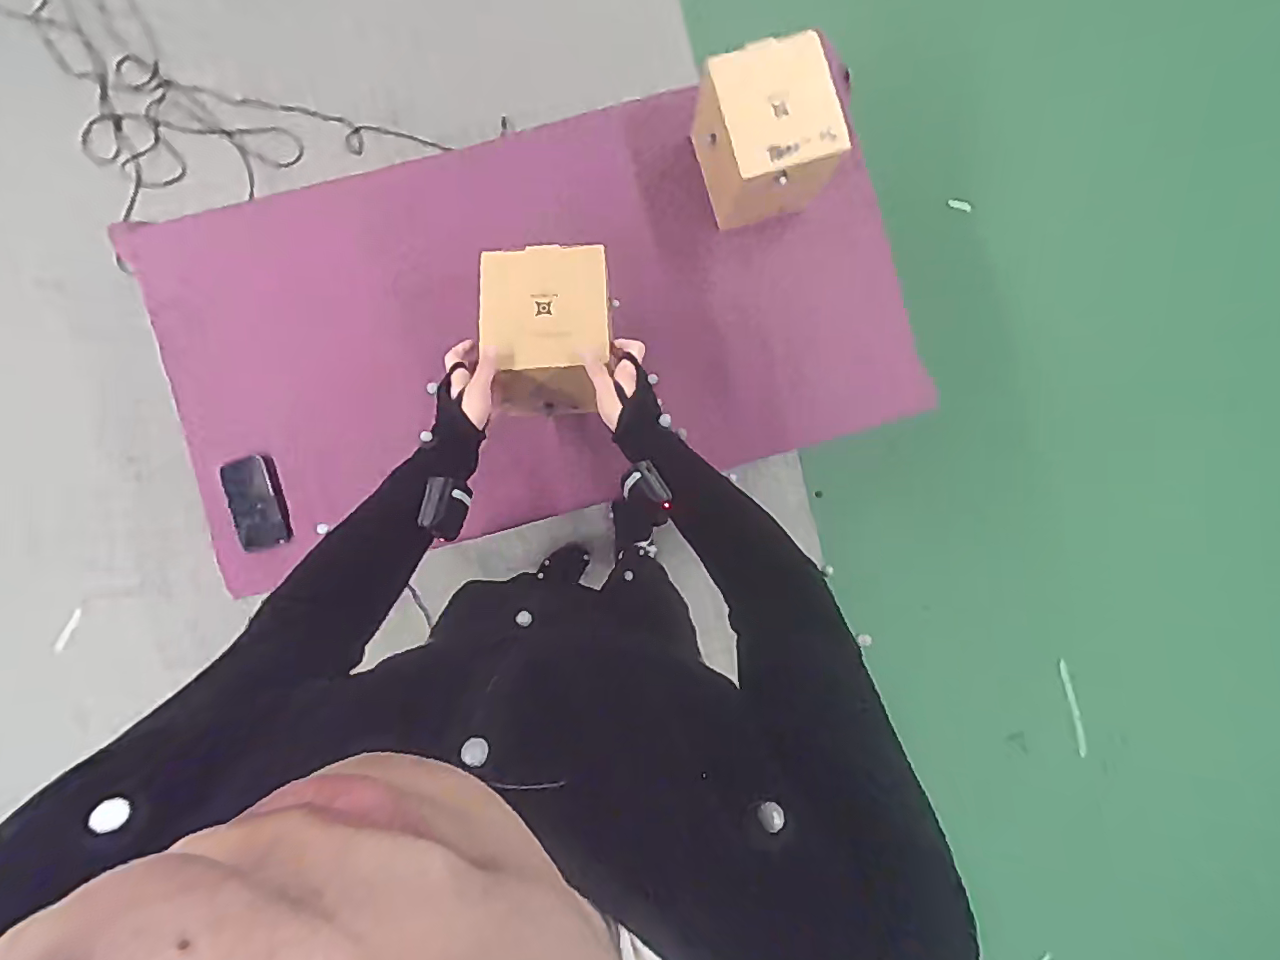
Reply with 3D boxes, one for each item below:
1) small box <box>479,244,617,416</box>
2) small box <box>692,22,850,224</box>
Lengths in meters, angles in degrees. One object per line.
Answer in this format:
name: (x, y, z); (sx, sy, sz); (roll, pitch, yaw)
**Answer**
small box: (-0.120, -0.203, 0.761); (0.168, 0.176, 0.179); (-3, 77, 0)
small box: (0.187, -0.532, 0.829); (0.168, 0.176, 0.179); (-18, 90, -2)
